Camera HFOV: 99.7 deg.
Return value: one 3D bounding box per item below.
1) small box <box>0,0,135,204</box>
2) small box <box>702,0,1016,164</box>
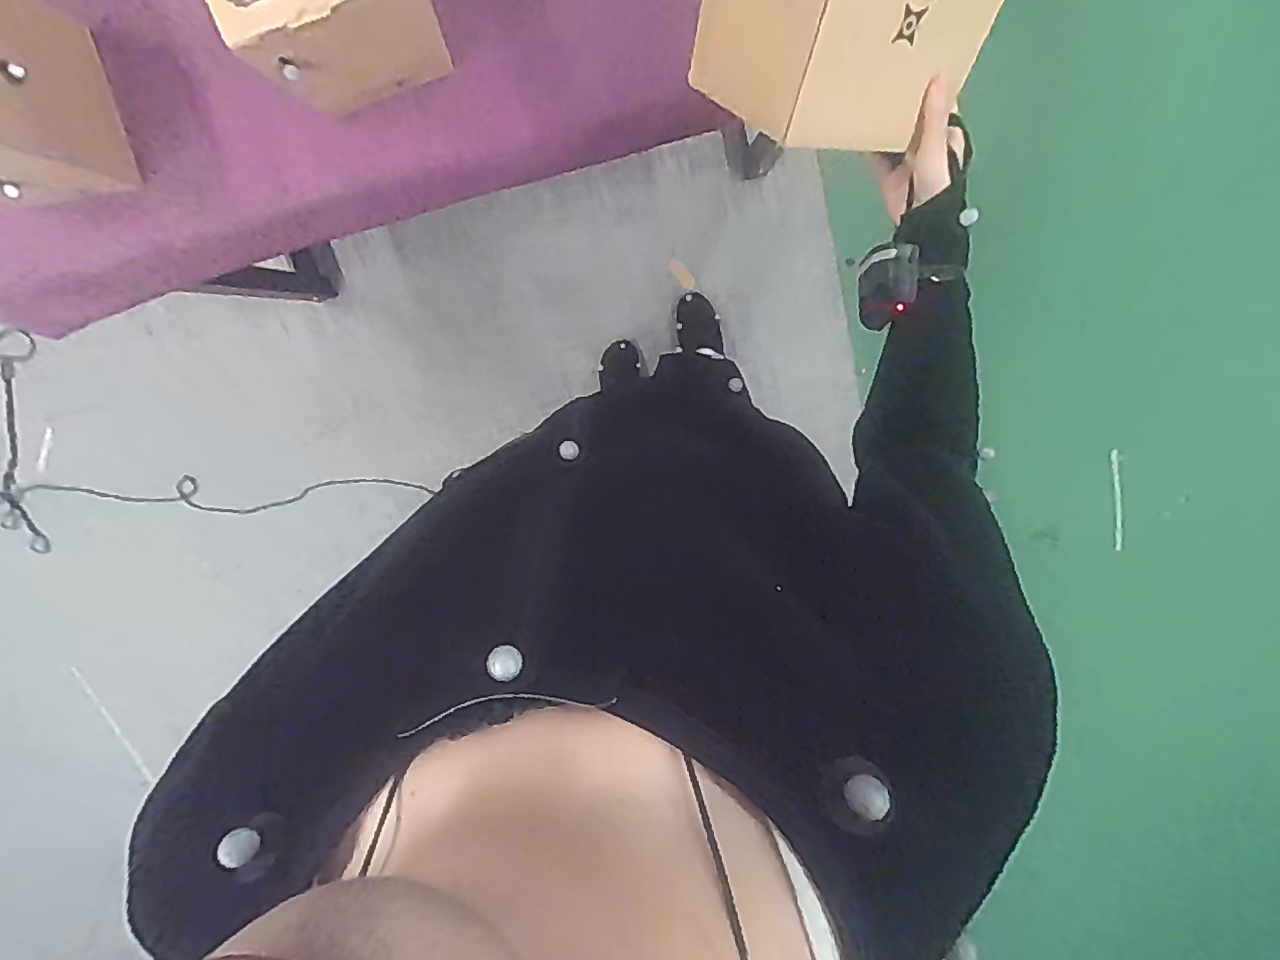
[{"bbox_3d":[-0.704,-0.405,0.570,0.168,0.176,0.179,-8,106,1],"label":"small box"},{"bbox_3d":[0.169,-0.383,0.437,0.168,0.176,0.179,-12,141,-22],"label":"small box"}]
